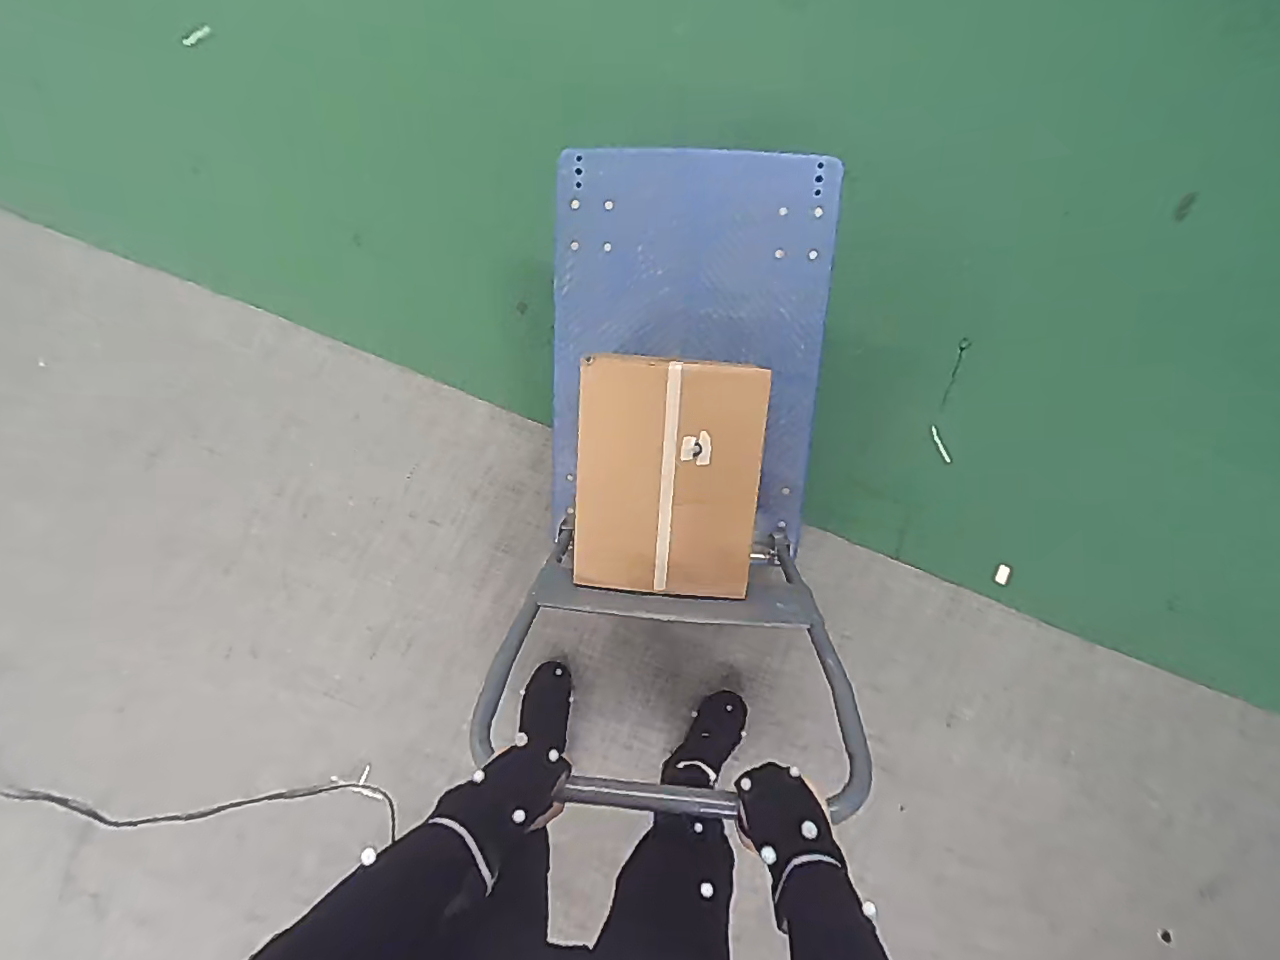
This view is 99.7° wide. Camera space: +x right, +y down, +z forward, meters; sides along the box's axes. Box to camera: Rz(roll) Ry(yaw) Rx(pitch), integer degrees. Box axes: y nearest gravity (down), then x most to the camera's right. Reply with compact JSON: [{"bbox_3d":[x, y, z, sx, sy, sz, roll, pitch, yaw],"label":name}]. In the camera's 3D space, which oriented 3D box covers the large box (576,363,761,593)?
[{"bbox_3d":[0.056,-0.024,1.096,0.320,0.320,0.408,4,102,3],"label":"large box"}]
